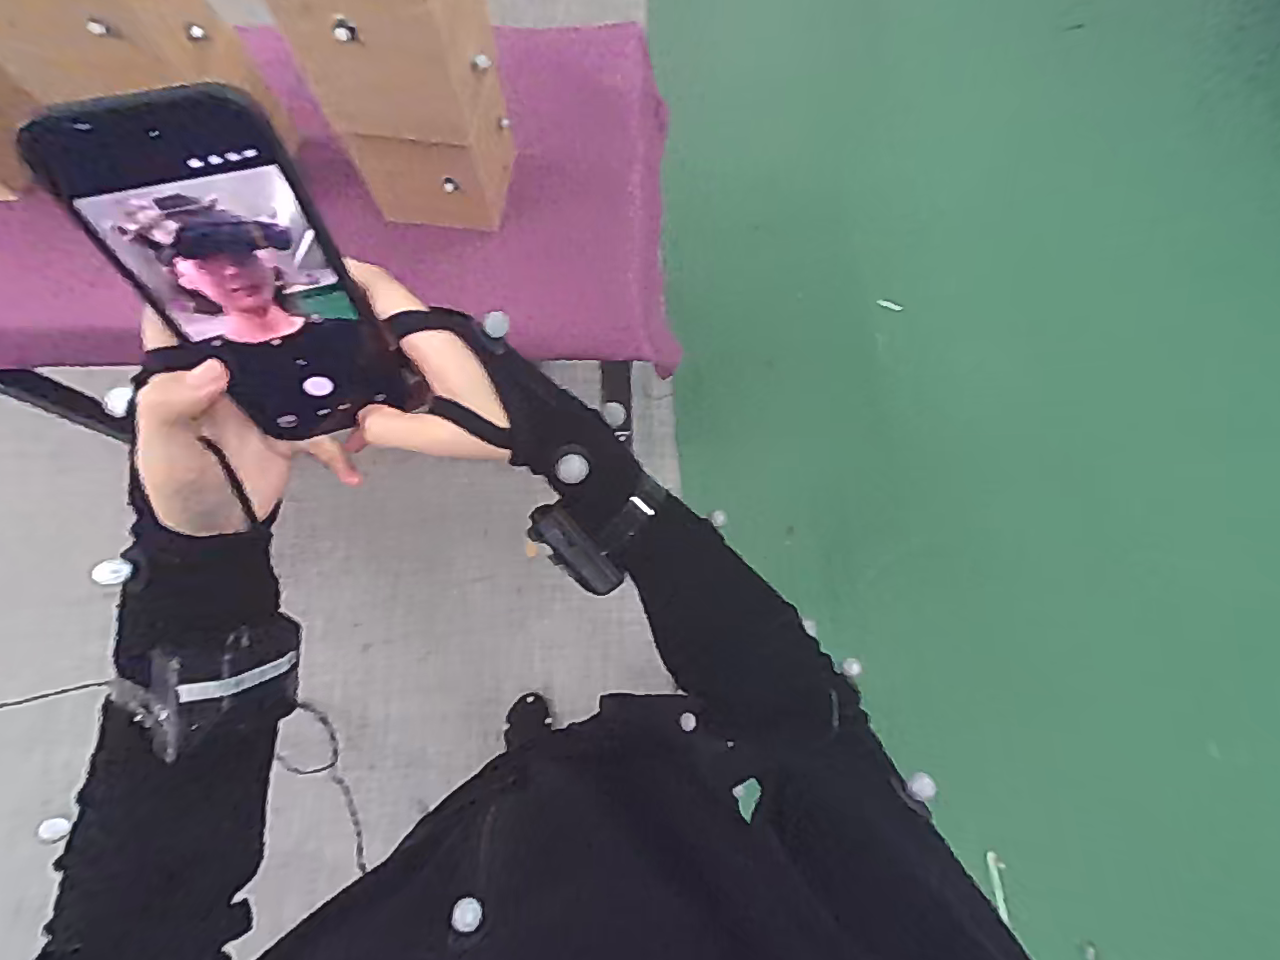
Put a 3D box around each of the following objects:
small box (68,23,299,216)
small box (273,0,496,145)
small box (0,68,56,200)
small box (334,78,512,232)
[{"bbox_3d":[-0.636,-0.510,0.783,0.179,0.176,0.168,1,72,-1],"label":"small box"},{"bbox_3d":[-0.284,-0.525,0.627,0.179,0.176,0.168,7,72,0],"label":"small box"},{"bbox_3d":[-1.026,-0.536,0.783,0.168,0.176,0.179,2,72,-1],"label":"small box"},{"bbox_3d":[-0.296,-0.490,0.787,0.179,0.176,0.168,7,72,1],"label":"small box"}]
